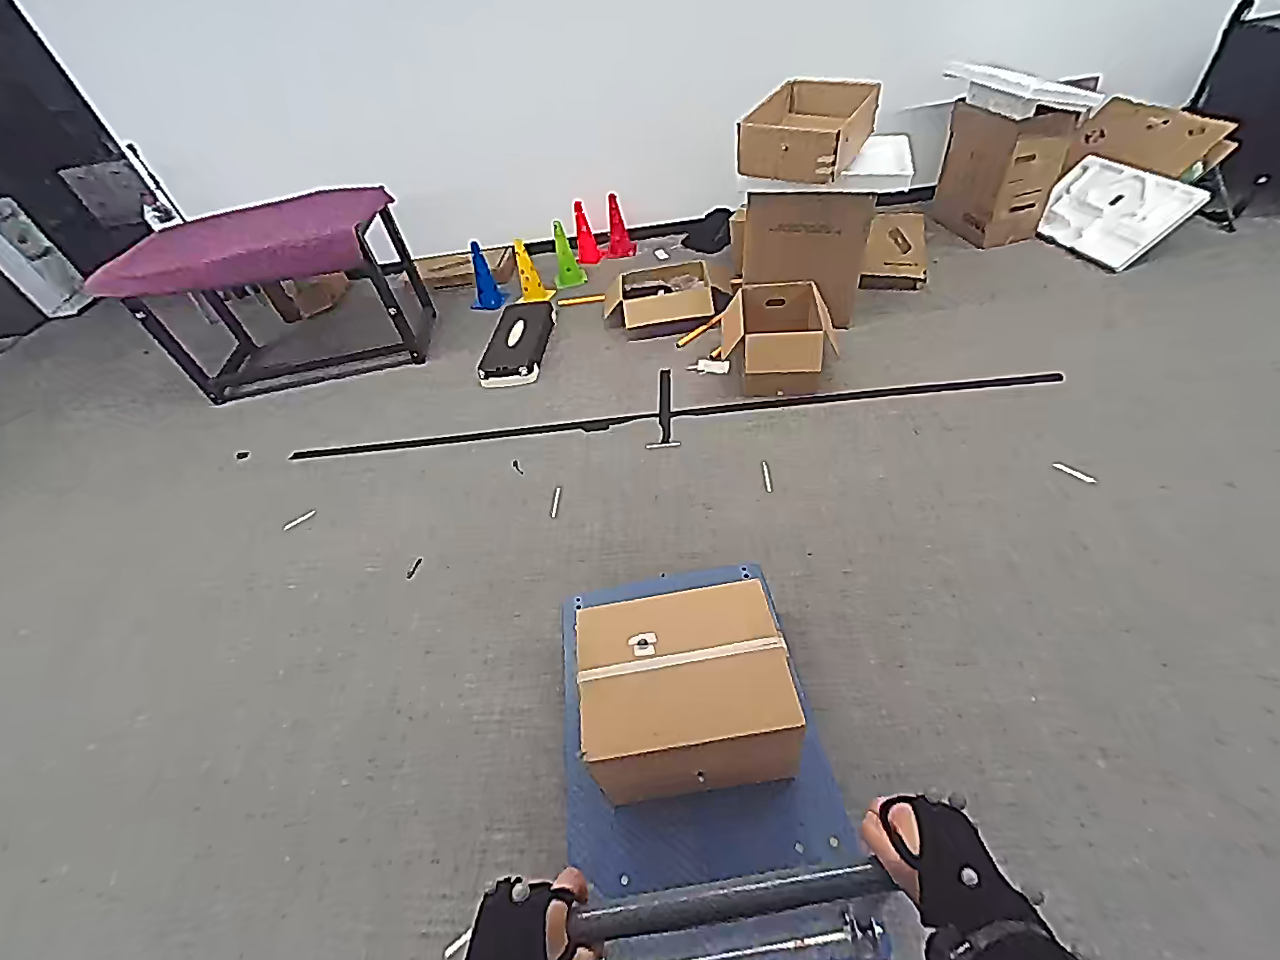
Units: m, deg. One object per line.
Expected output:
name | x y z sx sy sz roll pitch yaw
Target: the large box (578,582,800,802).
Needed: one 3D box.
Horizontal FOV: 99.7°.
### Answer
large box | 0.101 0.469 1.186 0.408 0.320 0.320 -11 44 2
